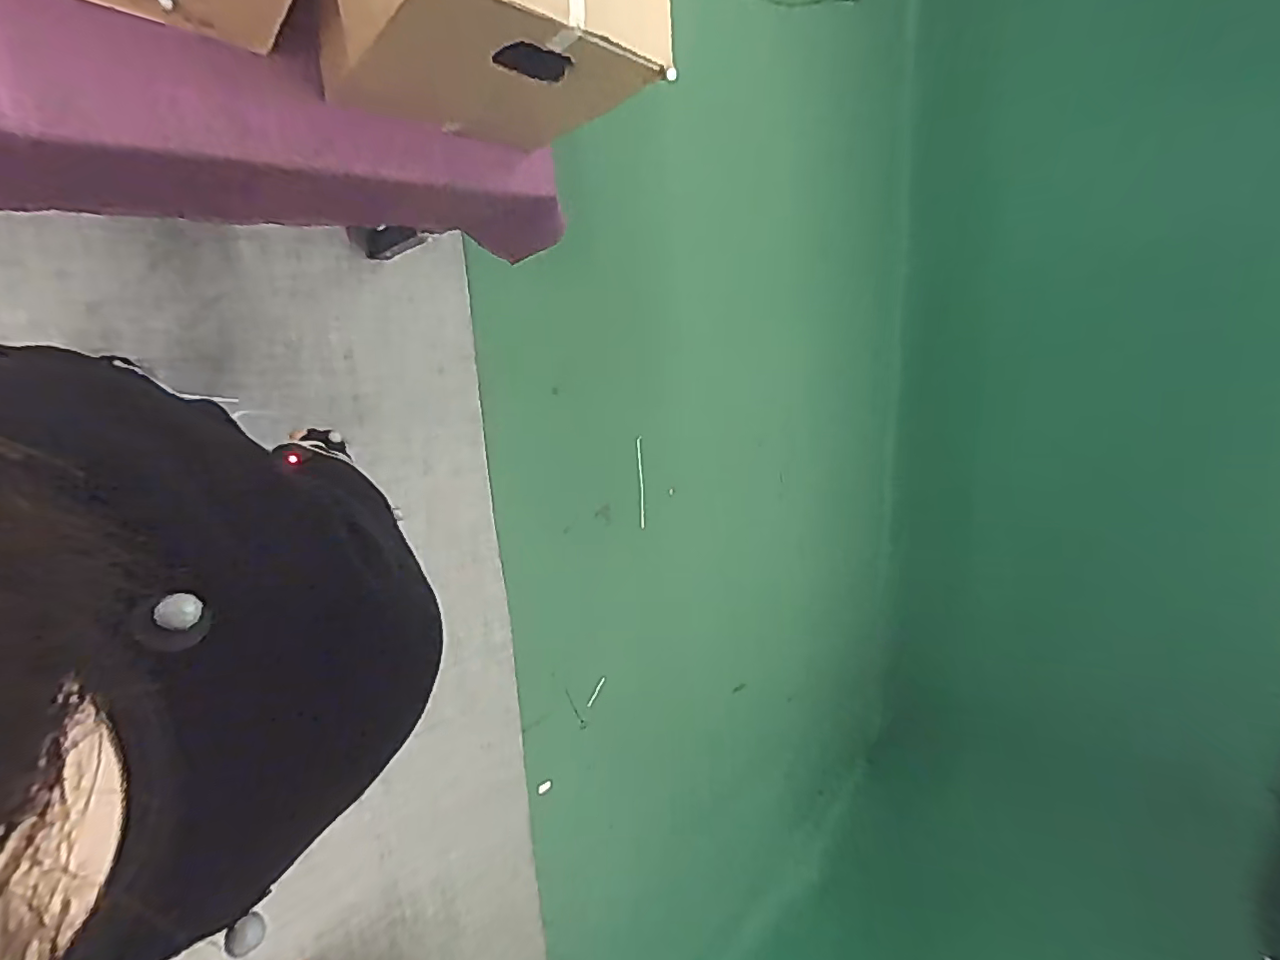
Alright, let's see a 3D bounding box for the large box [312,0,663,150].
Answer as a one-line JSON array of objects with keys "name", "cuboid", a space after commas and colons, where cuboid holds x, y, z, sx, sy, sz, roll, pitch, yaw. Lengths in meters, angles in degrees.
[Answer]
[{"name": "large box", "cuboid": [-0.195, -0.683, 0.639, 0.320, 0.320, 0.408, -16, 108, -42]}]
